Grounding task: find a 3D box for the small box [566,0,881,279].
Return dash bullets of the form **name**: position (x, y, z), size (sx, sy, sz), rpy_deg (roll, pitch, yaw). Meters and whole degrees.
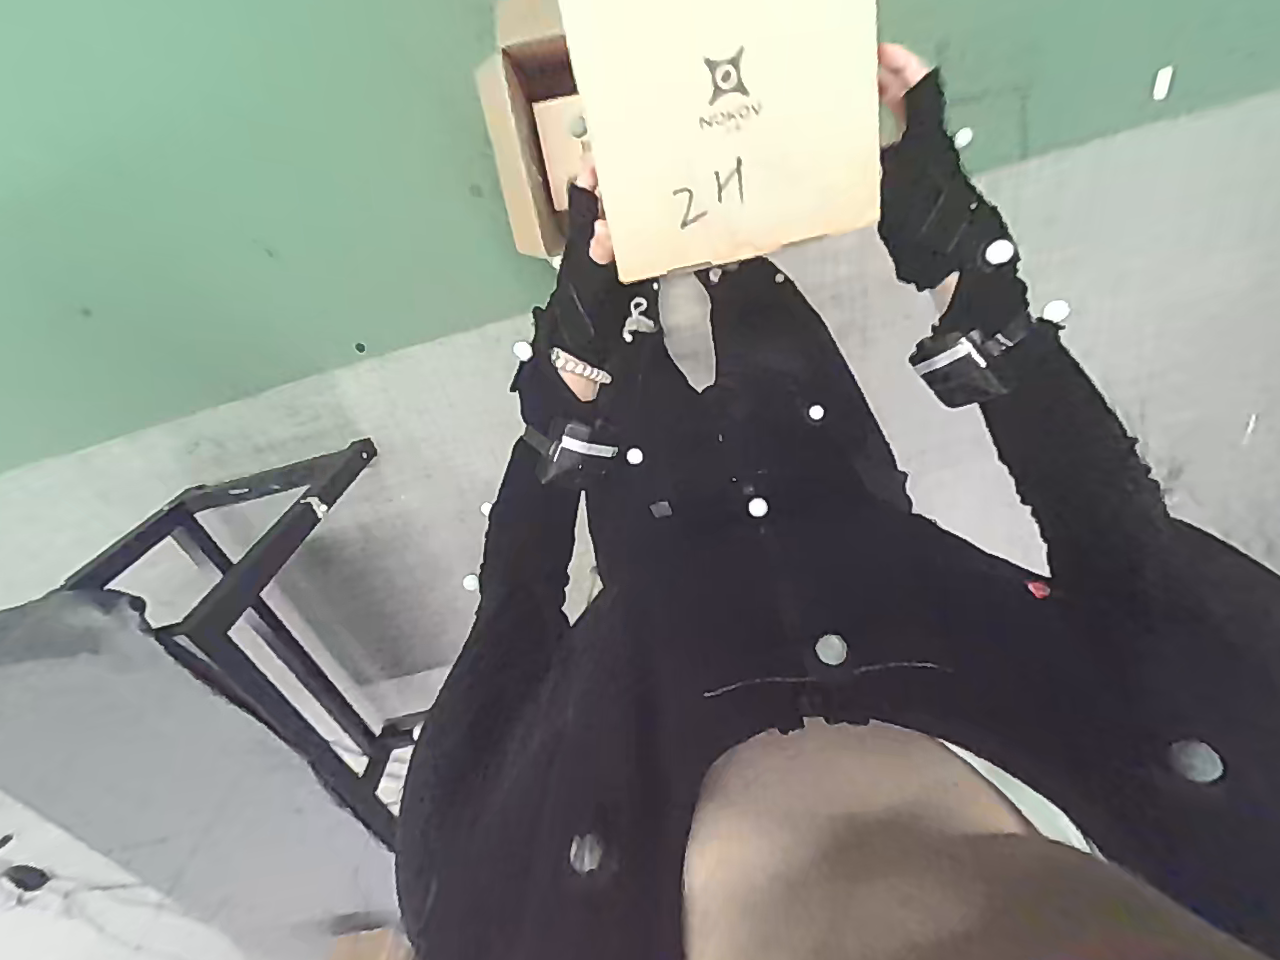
- **small box**: position (0.053, -0.251, 0.374), size (0.168, 0.176, 0.179), rpy_deg (-9, 116, 8)
